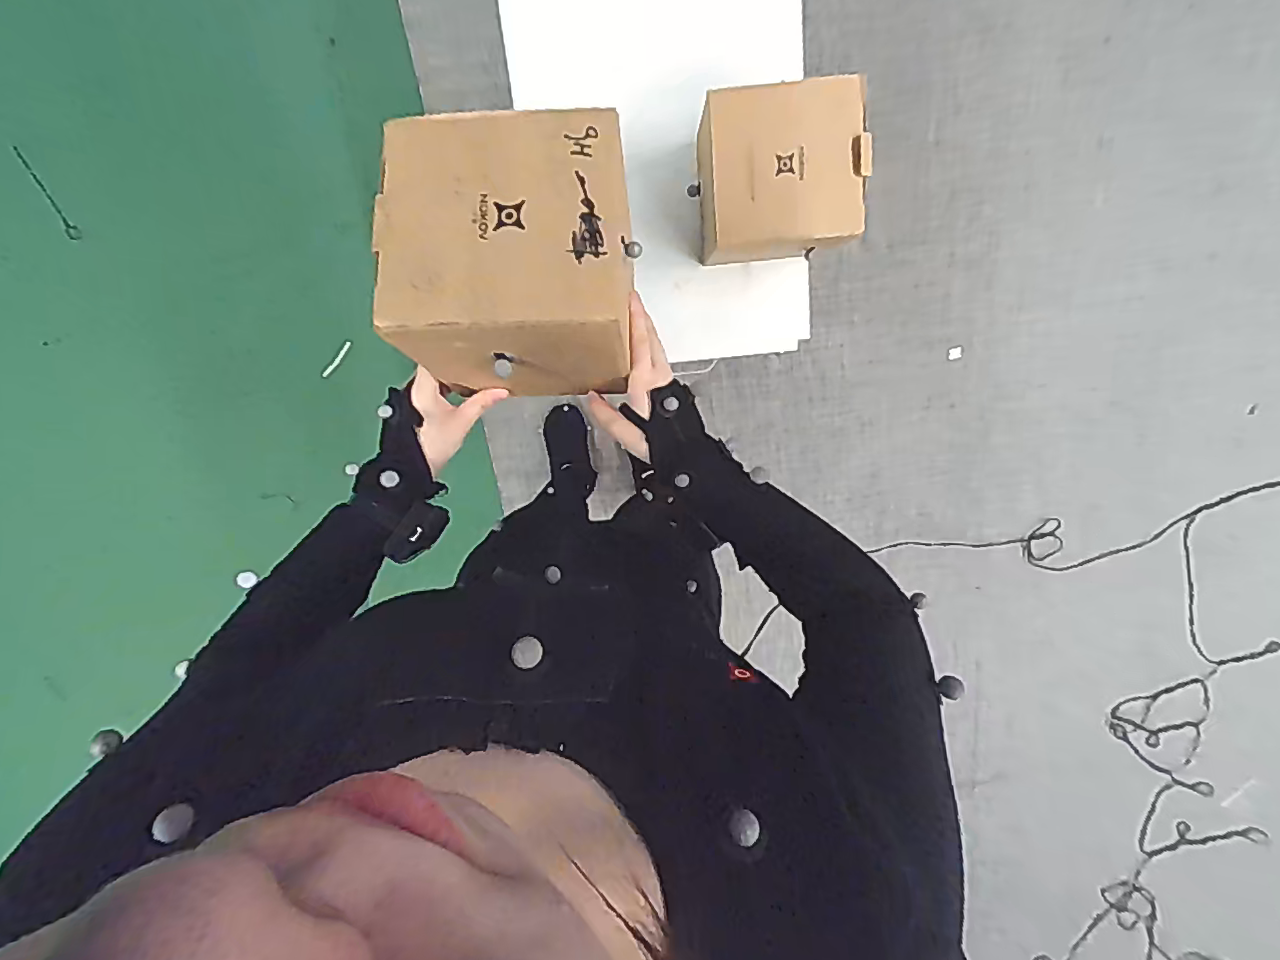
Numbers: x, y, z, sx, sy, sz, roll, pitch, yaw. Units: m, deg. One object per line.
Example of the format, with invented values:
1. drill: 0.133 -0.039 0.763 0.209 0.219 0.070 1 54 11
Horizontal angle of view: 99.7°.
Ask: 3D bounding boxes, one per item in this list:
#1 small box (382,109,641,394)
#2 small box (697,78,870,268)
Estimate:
1. small box: -0.092 -0.176 0.466 0.179 0.176 0.168 -2 82 3
2. small box: 0.172 -0.373 0.688 0.179 0.176 0.168 -5 104 3
